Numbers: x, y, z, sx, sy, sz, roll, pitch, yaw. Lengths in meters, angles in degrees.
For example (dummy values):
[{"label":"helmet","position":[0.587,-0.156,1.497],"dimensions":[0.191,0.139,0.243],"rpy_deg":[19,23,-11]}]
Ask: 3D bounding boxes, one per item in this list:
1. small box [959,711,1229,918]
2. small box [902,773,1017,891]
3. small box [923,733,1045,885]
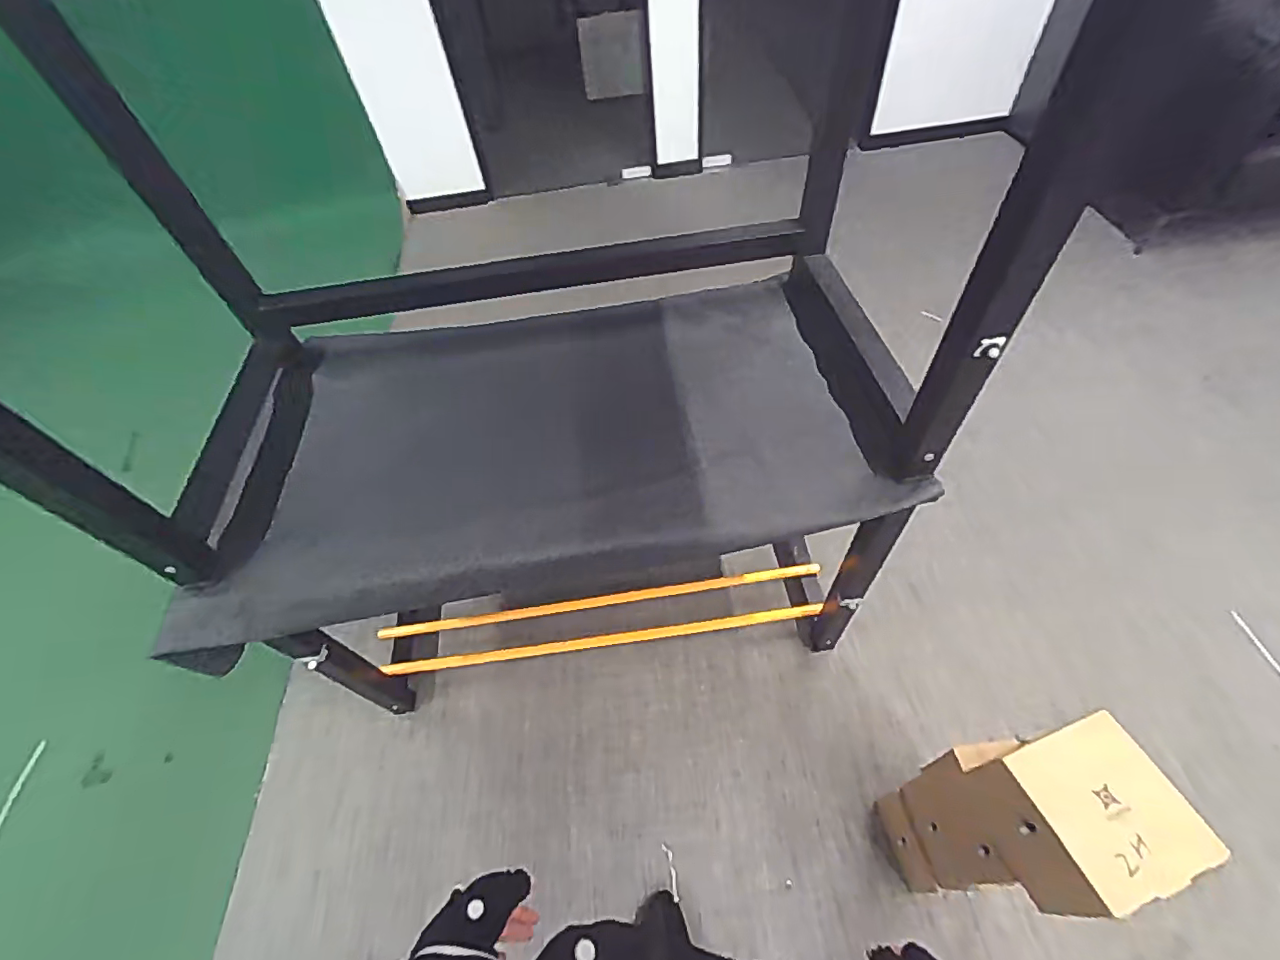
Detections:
[{"label":"small box","position":[0.565,0.438,0.710],"dimensions":[0.168,0.176,0.179],"rpy_deg":[-19,54,-7]},{"label":"small box","position":[0.608,0.621,0.977],"dimensions":[0.168,0.176,0.179],"rpy_deg":[-11,52,-2]},{"label":"small box","position":[0.579,0.520,0.851],"dimensions":[0.168,0.176,0.179],"rpy_deg":[-9,53,1]}]
